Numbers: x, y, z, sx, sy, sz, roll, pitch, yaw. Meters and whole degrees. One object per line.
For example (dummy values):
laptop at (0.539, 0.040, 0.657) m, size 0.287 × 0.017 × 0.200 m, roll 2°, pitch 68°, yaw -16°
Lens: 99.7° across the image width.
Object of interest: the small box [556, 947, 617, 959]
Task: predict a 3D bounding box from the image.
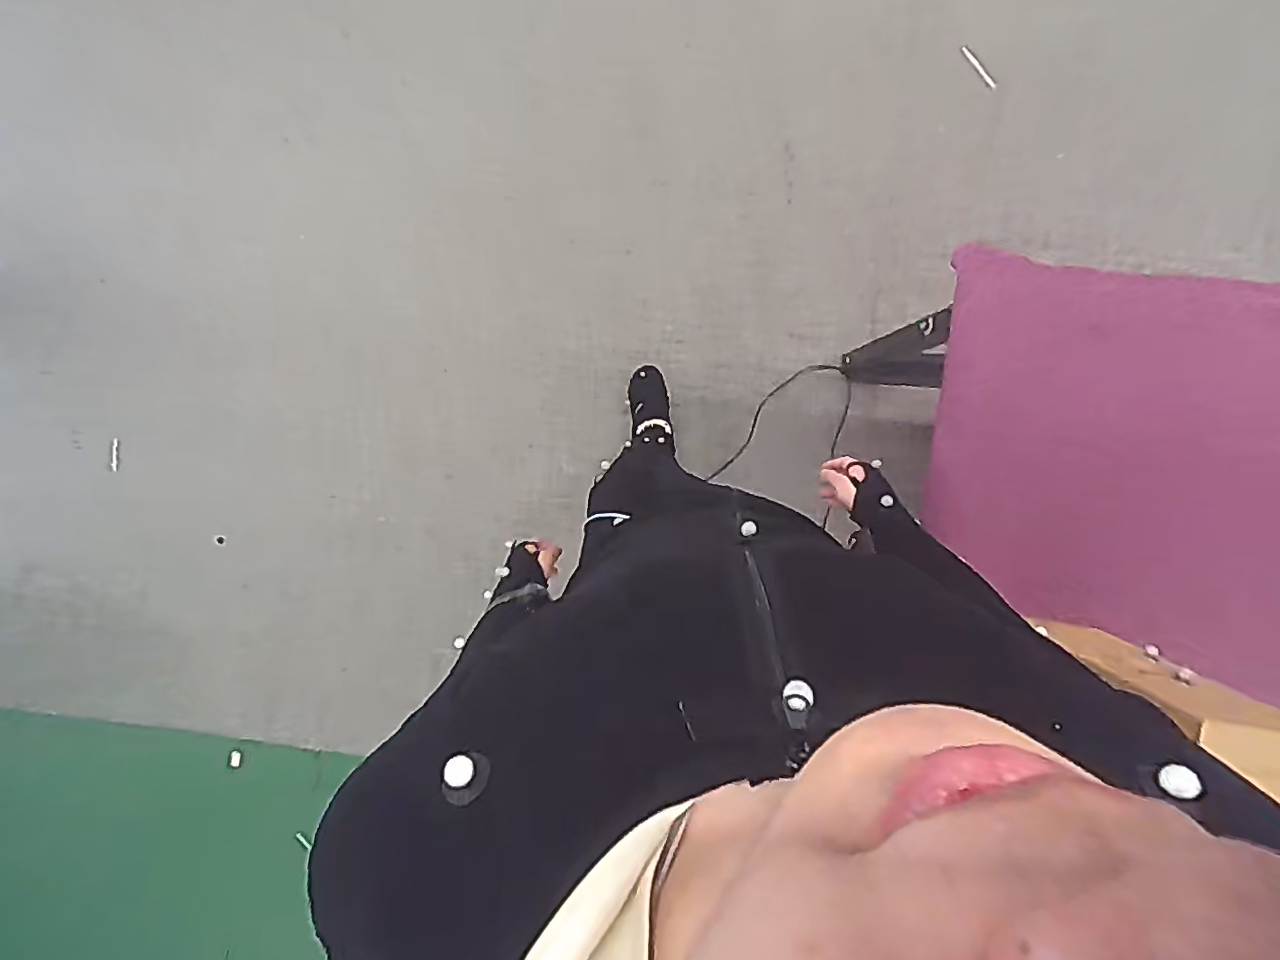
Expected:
small box at (-0.162, 1.439, 1.487) m, size 0.179 × 0.176 × 0.168 m, roll 3°, pitch 94°, yaw 2°

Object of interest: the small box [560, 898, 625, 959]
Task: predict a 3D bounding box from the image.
small box at (-0.147, 1.424, 1.648) m, size 0.179 × 0.176 × 0.168 m, roll 6°, pitch 95°, yaw 2°

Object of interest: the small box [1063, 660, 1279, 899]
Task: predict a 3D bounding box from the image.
small box at (0.651, 0.340, 0.637) m, size 0.168 × 0.176 × 0.179 m, roll 10°, pitch 95°, yaw 1°
